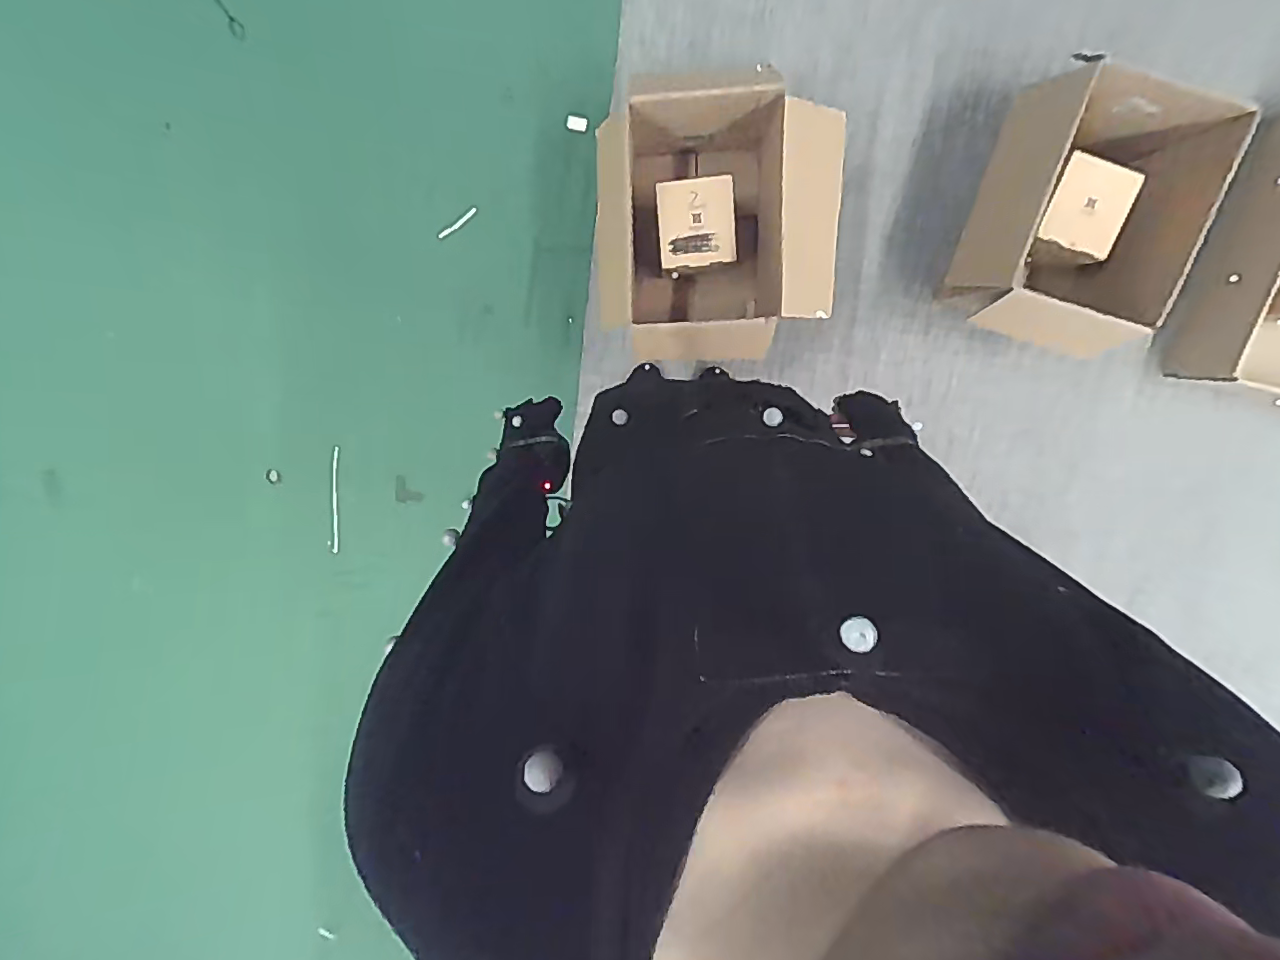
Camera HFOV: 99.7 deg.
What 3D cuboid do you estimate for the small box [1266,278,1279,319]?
[{"bbox_3d":[1.580,-0.435,1.199,0.168,0.176,0.179,14,101,-2],"label":"small box"}]
